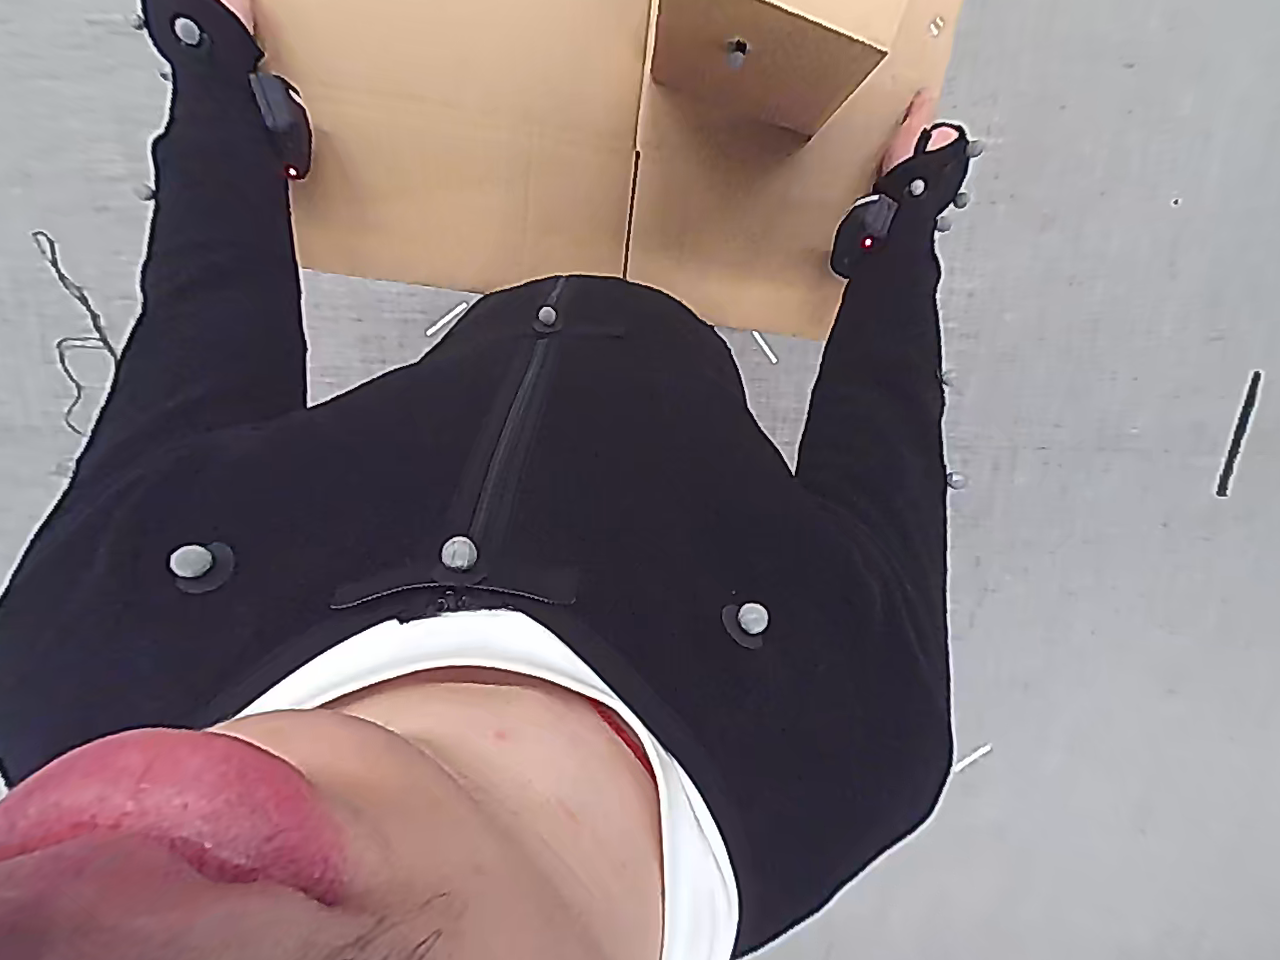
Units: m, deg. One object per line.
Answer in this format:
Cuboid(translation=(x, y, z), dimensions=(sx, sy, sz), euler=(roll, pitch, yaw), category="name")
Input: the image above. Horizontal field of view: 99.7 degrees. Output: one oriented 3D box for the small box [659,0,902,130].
Cuboid(translation=(0.120, -0.432, 0.453), dimensions=(0.179, 0.176, 0.168), euler=(17, 103, -5), category="small box")
